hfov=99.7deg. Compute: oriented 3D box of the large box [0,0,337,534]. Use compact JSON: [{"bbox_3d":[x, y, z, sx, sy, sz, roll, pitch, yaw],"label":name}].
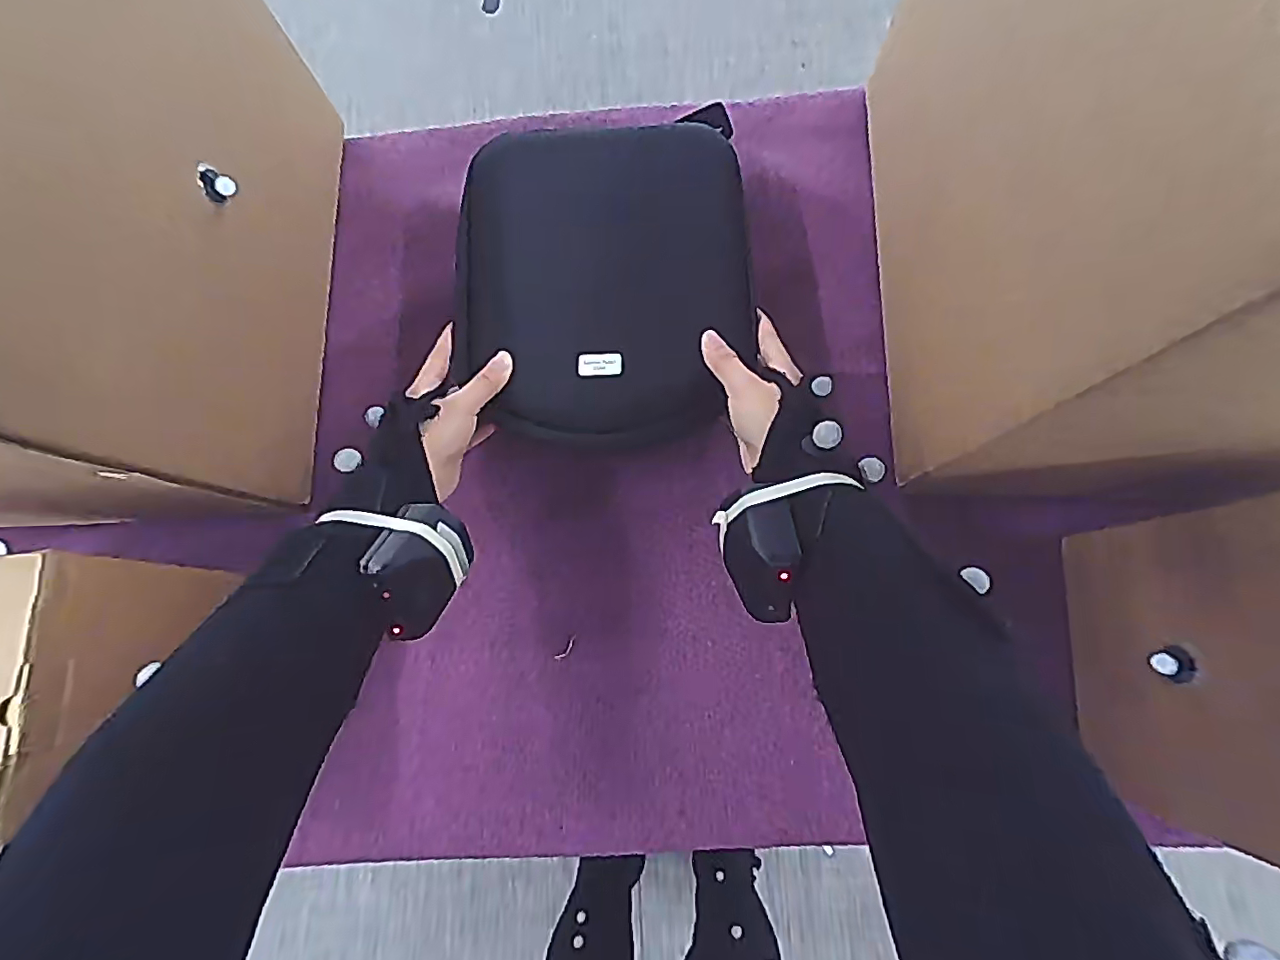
[{"bbox_3d":[-0.452,-0.183,0.378,0.320,0.320,0.408,-4,79,2],"label":"large box"}]
